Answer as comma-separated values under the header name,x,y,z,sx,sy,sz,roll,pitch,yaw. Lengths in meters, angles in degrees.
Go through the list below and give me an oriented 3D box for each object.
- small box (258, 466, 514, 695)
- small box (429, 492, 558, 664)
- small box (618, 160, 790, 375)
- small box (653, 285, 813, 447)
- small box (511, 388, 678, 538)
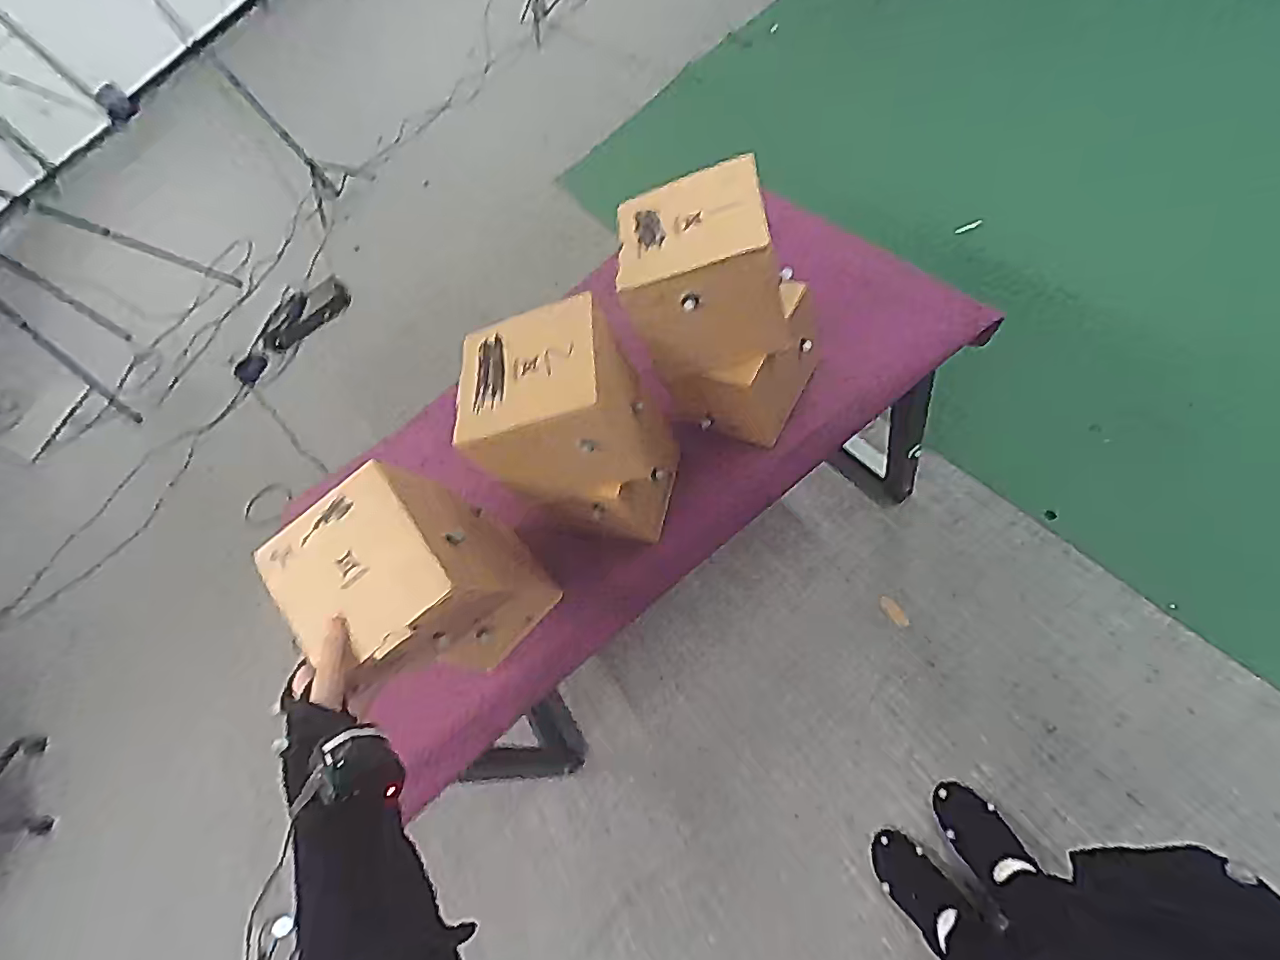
name,x,y,z,sx,sy,sz,roll,pitch,yaw
small box,-0.275,0.110,0.623,0.168,0.176,0.179,-37,76,0
small box,-0.254,0.154,0.810,0.168,0.176,0.179,-46,56,-5
small box,0.085,-0.259,0.694,0.179,0.176,0.168,-11,59,18
small box,0.150,-0.180,0.821,0.168,0.176,0.179,23,75,32
small box,-0.056,-0.021,0.820,0.179,0.176,0.168,6,66,25
